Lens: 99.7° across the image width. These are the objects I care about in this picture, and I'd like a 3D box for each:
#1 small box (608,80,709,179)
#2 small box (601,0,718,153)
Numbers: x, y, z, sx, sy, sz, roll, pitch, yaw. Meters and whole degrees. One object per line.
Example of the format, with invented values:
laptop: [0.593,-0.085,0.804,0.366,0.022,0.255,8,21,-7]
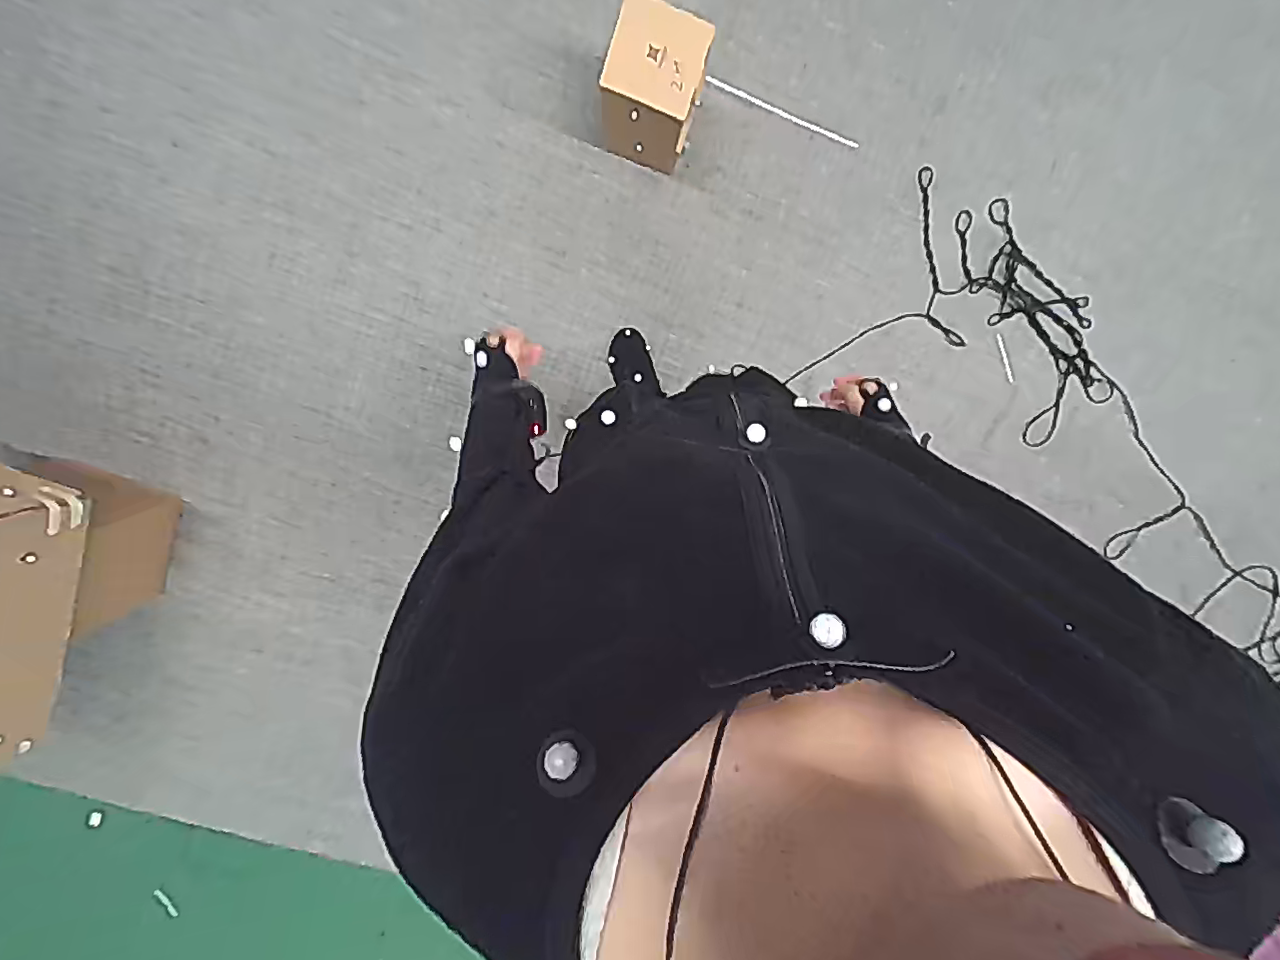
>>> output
small box: [0.036,-0.821,1.235,0.179,0.176,0.168,19,102,-7]
small box: [0.033,-0.787,1.073,0.179,0.176,0.168,19,102,-6]
